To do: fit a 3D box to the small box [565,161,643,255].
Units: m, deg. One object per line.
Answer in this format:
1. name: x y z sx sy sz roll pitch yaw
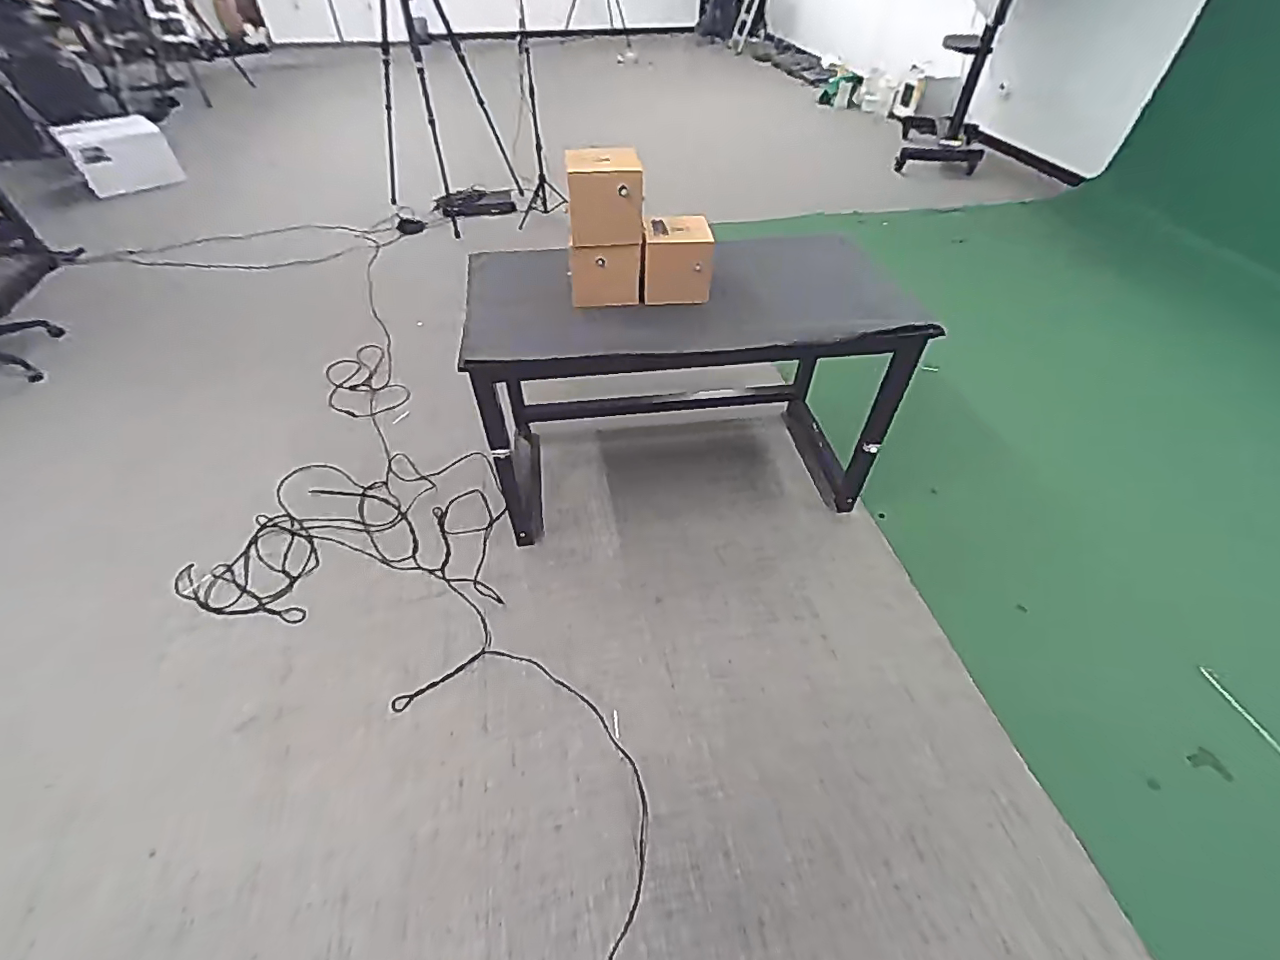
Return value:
1. small box: -0.092 -0.674 1.344 0.179 0.176 0.168 -5 46 -6
